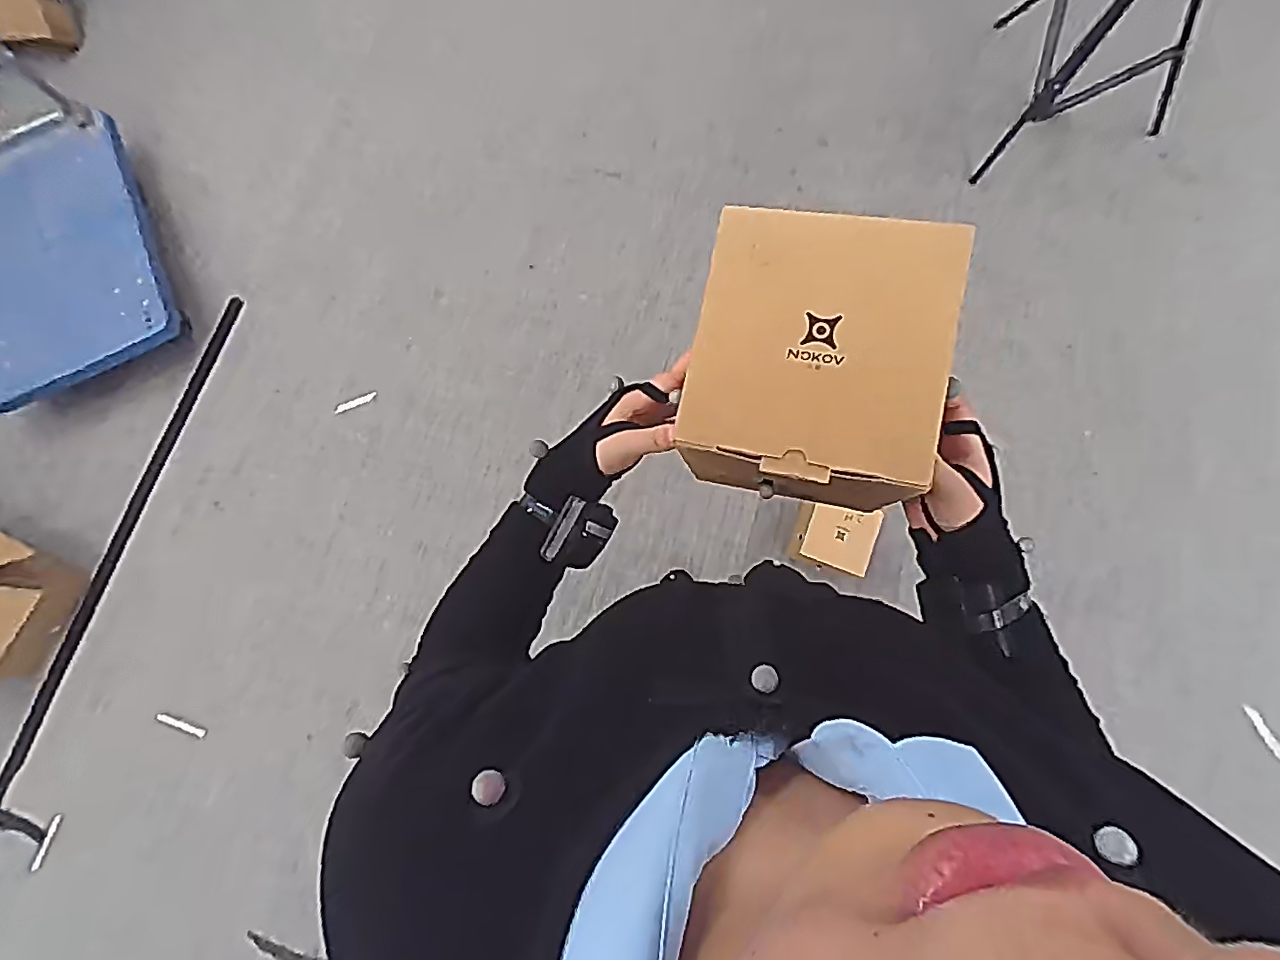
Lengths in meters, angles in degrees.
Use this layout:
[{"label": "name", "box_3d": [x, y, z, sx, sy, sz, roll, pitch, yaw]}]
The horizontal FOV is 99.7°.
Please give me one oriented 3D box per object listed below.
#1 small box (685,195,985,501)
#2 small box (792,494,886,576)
[{"label": "small box", "box_3d": [0.138, -0.088, 0.426, 0.168, 0.176, 0.179, 10, 85, 12]}, {"label": "small box", "box_3d": [0.511, 0.143, 1.416, 0.168, 0.176, 0.179, 21, 81, 7]}]
